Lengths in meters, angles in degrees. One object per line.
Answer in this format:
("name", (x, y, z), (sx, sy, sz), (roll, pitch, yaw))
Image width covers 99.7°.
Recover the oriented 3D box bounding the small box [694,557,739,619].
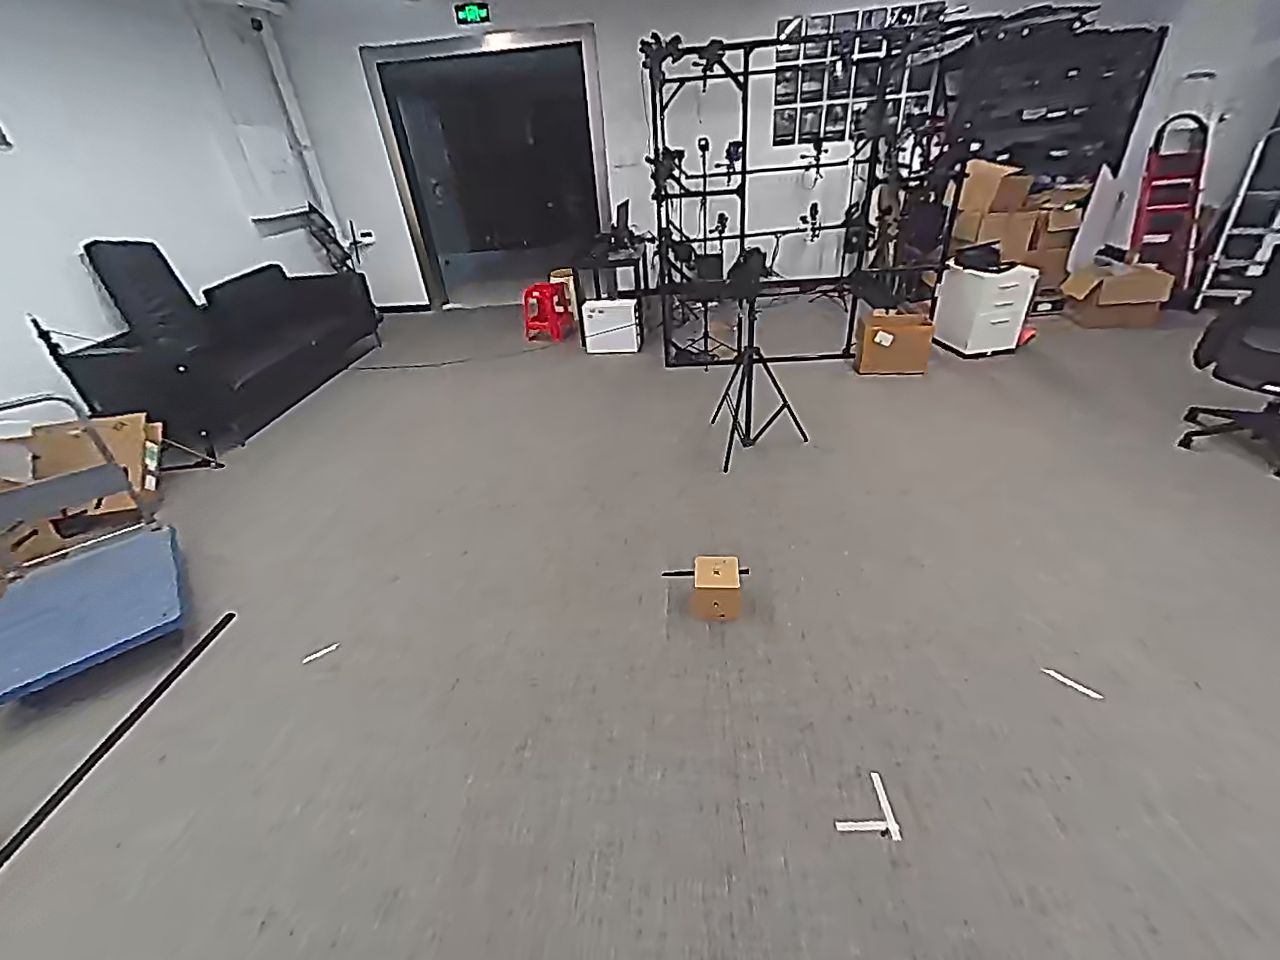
("small box", (0.296, 0.415, 2.076), (0.168, 0.176, 0.179), (-1, 32, 7))
